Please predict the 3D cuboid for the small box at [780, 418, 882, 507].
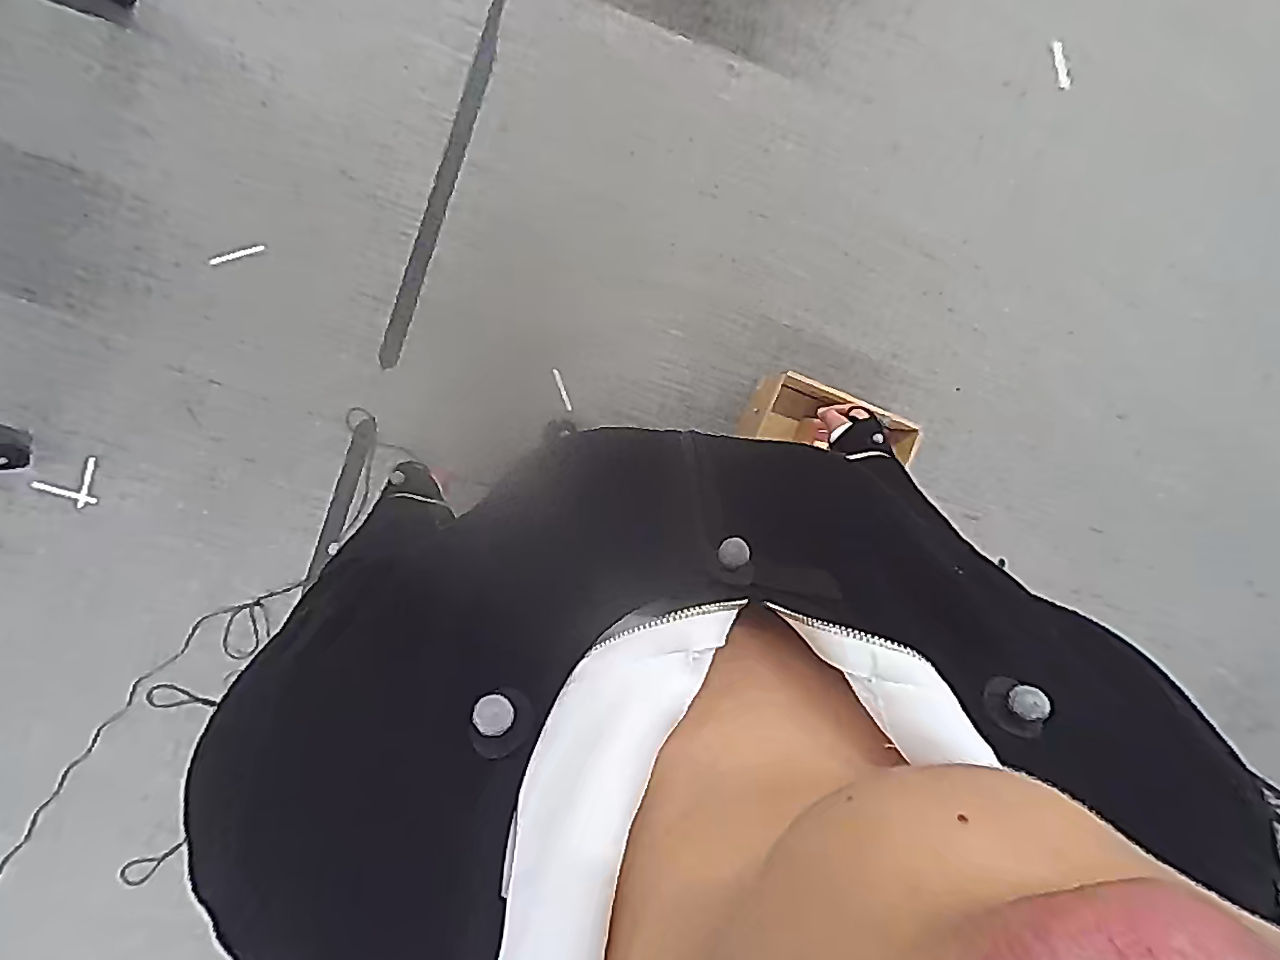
[{"bbox_3d":[0.481,-0.052,1.394,0.168,0.176,0.179,21,97,-4],"label":"small box"}]
